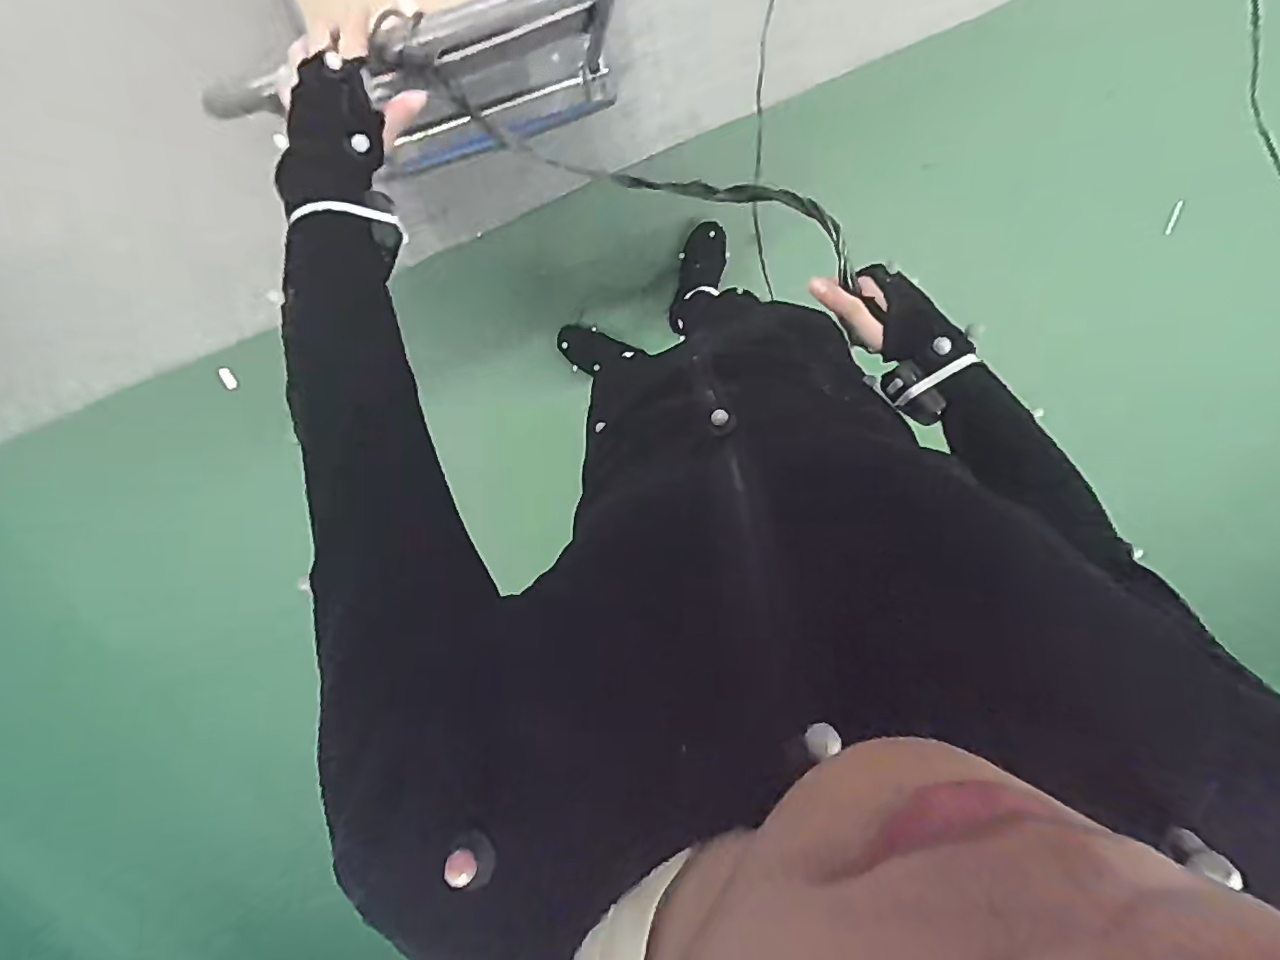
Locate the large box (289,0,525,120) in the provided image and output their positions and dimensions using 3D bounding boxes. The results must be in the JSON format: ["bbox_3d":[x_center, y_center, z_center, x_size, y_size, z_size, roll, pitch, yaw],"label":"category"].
[{"bbox_3d":[-0.419,-0.905,0.905,0.320,0.320,0.408,-17,114,0],"label":"large box"}]
